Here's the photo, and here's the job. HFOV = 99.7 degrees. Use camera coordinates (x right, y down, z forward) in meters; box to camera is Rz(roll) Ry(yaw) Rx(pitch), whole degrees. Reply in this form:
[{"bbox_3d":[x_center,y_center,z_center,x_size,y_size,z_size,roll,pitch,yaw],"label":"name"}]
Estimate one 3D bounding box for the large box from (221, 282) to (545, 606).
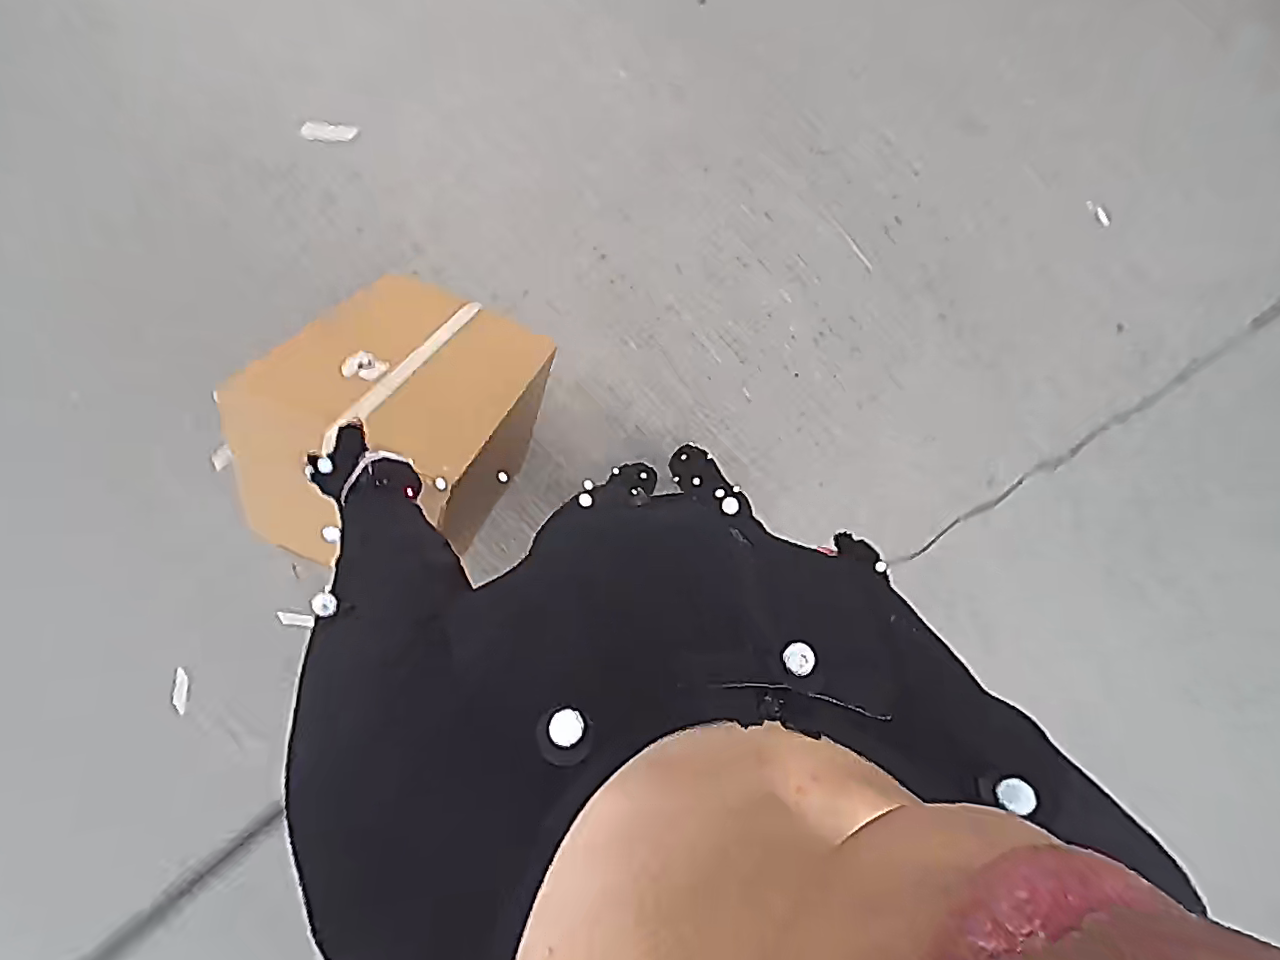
[{"bbox_3d":[-0.399,-0.069,0.931,0.320,0.408,0.320,22,133,-4],"label":"large box"}]
